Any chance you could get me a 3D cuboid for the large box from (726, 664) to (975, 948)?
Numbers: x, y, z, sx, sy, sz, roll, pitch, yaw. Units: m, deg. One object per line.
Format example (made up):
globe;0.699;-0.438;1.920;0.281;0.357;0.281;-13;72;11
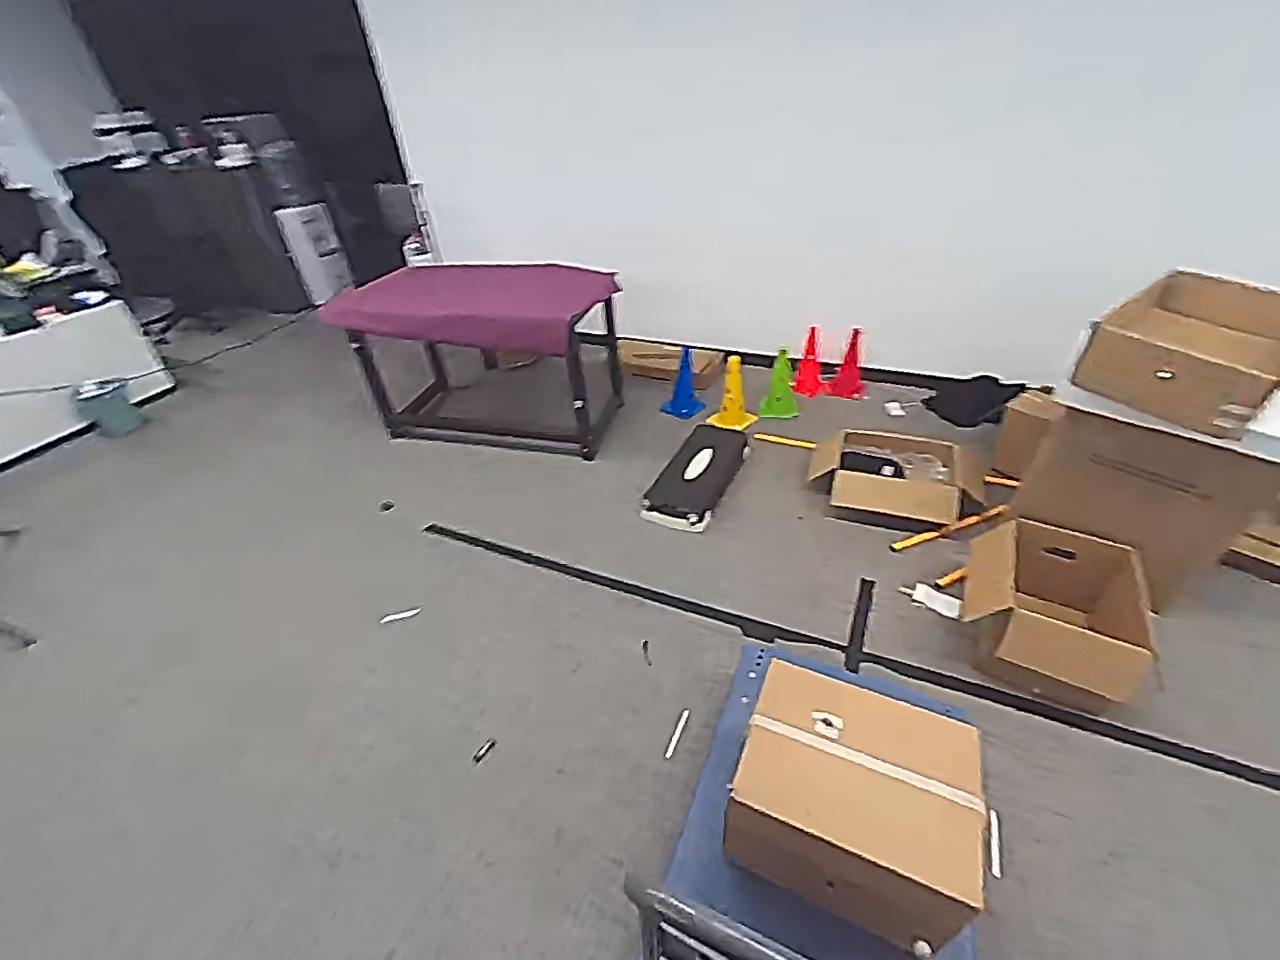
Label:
large box;0.415;0.648;1.106;0.408;0.320;0.320;13;40;22
